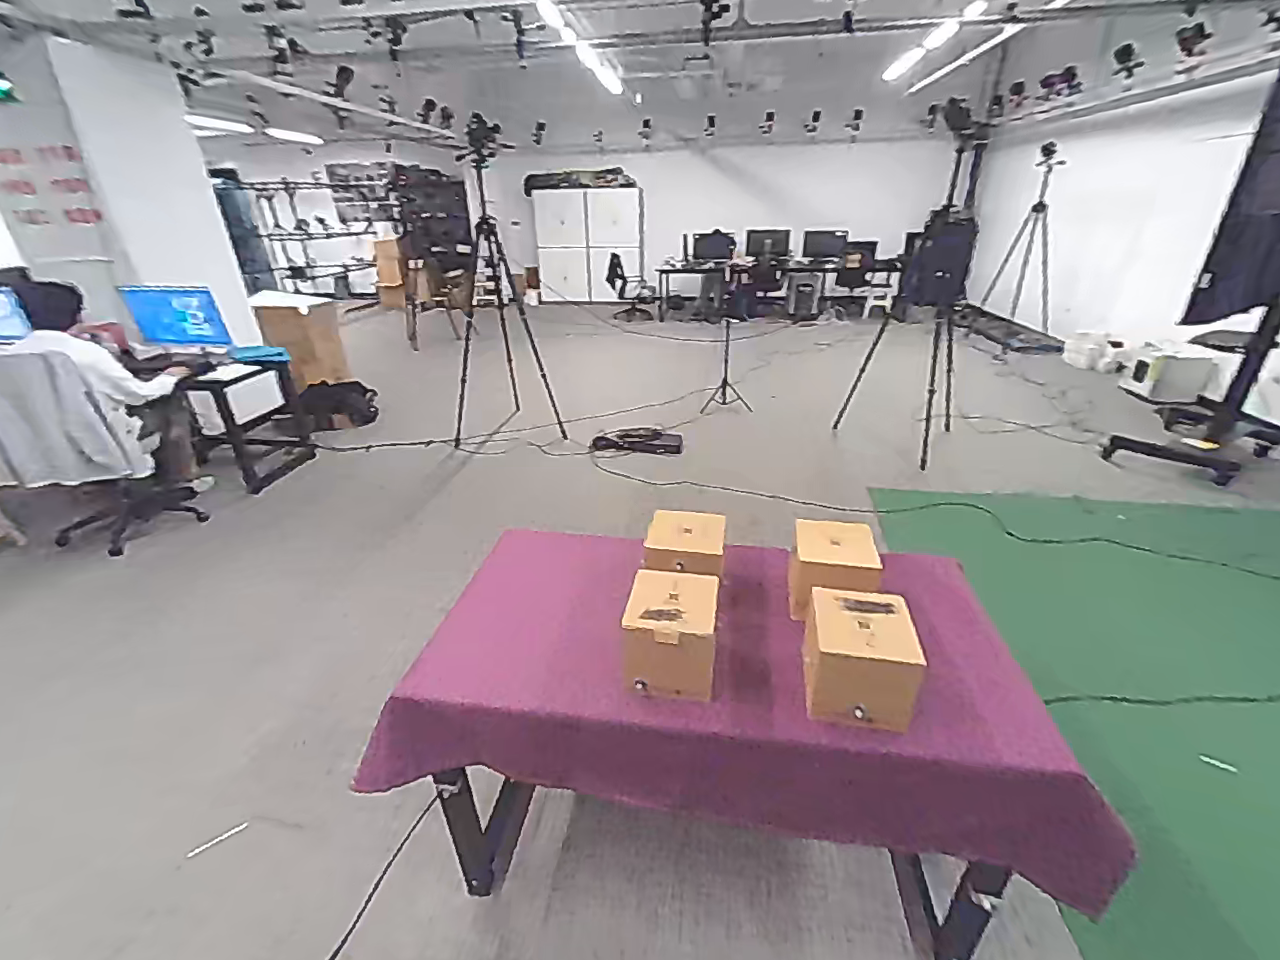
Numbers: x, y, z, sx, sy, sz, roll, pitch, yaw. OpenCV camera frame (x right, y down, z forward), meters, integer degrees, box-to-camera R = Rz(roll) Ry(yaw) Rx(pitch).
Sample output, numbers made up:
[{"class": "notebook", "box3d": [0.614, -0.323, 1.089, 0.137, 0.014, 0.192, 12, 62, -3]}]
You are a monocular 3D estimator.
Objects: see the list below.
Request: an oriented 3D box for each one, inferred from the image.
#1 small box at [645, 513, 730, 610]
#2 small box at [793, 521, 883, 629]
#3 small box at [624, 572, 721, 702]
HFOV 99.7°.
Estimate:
[{"class": "small box", "box3d": [0.115, 0.194, 1.275, 0.179, 0.176, 0.168, 5, 28, 12]}, {"class": "small box", "box3d": [0.438, 0.211, 1.217, 0.168, 0.176, 0.179, 4, 26, 12]}, {"class": "small box", "box3d": [0.070, 0.303, 1.055, 0.168, 0.176, 0.179, 4, 26, 11]}]
